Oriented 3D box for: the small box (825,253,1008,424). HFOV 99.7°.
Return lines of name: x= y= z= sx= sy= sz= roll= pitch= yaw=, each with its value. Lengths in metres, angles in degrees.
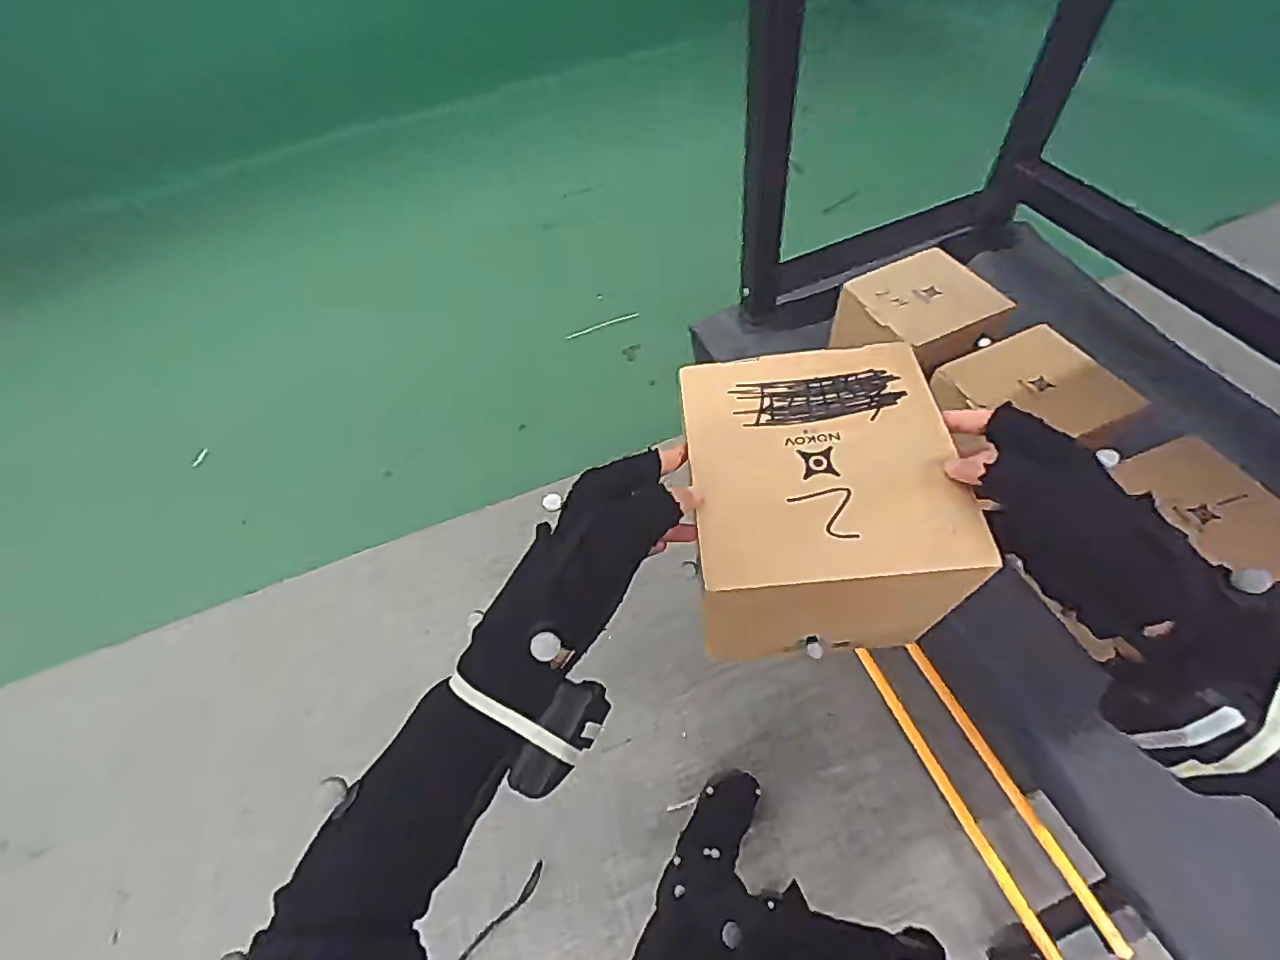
small box: x=0.424 y=-0.222 z=0.865 sx=0.179 sy=0.176 sz=0.168 roll=-23 pitch=56 yaw=-7
